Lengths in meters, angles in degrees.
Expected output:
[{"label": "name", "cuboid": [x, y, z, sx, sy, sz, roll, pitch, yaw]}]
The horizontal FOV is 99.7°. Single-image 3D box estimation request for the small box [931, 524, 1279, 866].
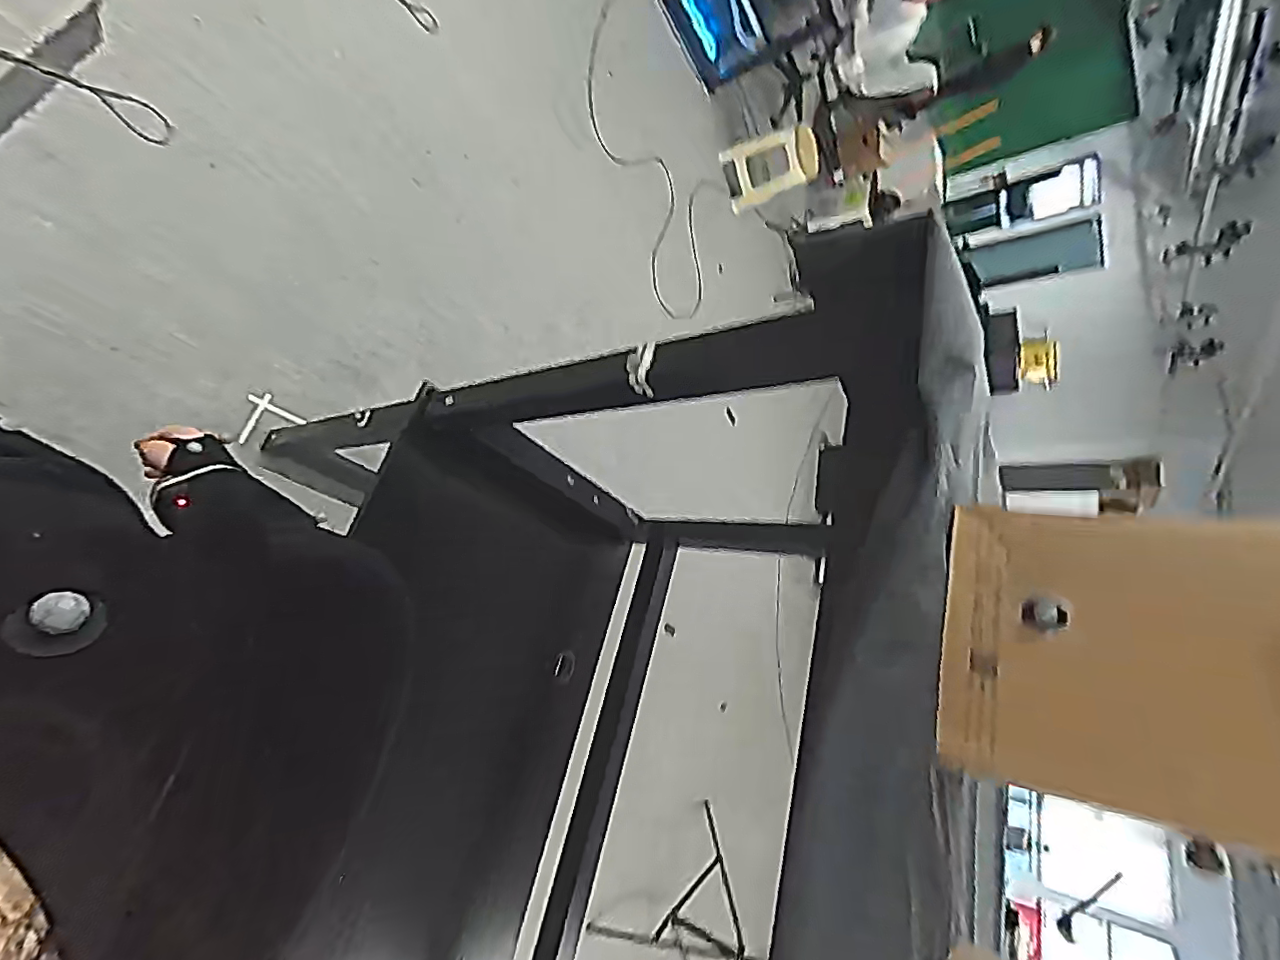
[{"label": "small box", "cuboid": [0.310, 0.135, 0.367, 0.179, 0.176, 0.168, 39, 60, -46]}]
